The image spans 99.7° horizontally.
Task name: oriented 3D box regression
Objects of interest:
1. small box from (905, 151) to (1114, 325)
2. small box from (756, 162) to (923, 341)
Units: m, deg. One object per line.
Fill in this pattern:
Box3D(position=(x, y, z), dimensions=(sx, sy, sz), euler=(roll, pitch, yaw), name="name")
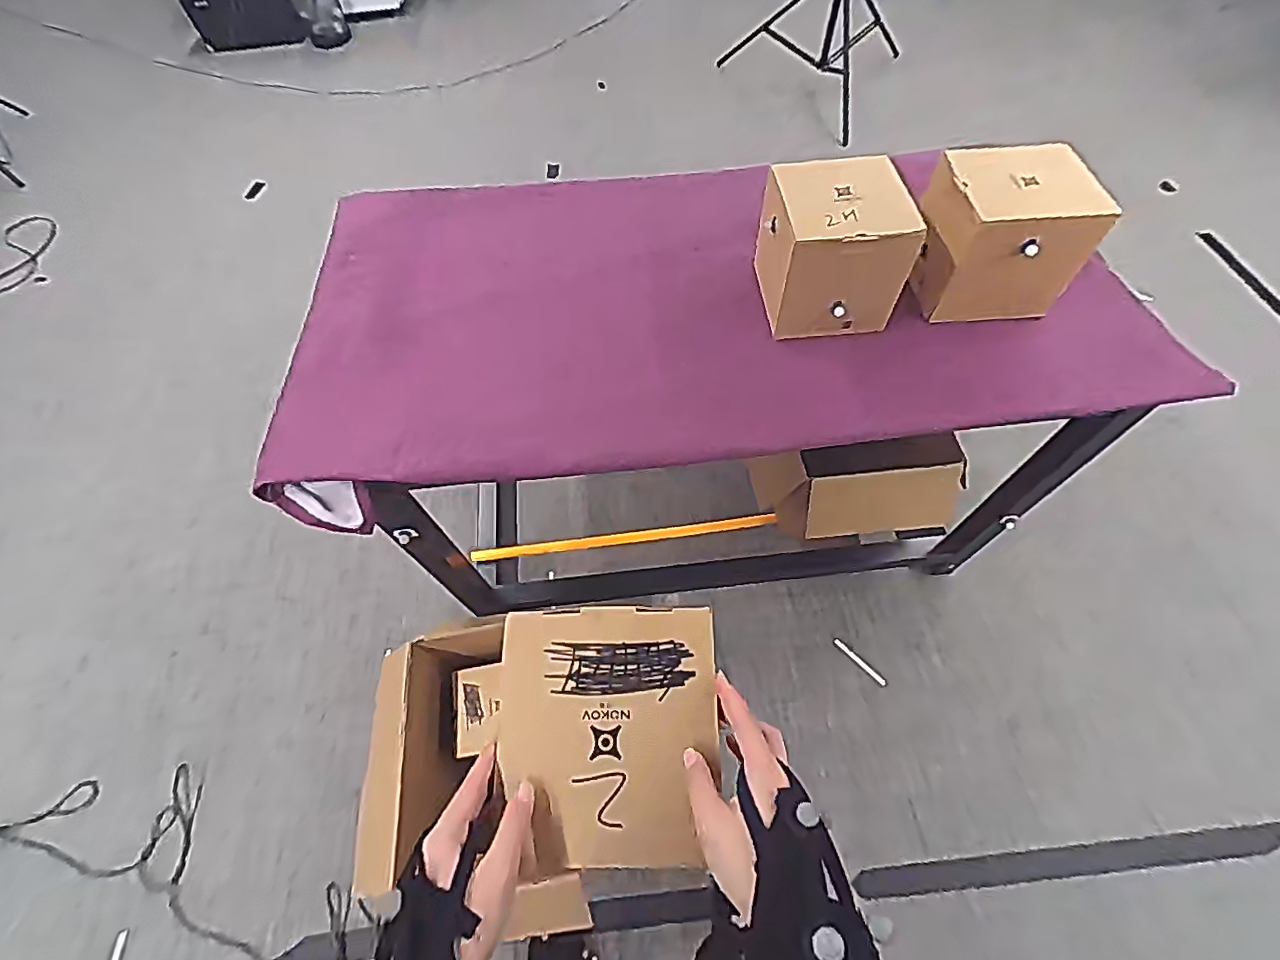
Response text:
Box3D(position=(0.511, -0.346, 0.786), dimensions=(0.179, 0.176, 0.168), euler=(-3, 58, 2), name="small box")
Box3D(position=(0.271, -0.327, 0.785), dimensions=(0.168, 0.176, 0.179), euler=(-4, 59, 1), name="small box")
